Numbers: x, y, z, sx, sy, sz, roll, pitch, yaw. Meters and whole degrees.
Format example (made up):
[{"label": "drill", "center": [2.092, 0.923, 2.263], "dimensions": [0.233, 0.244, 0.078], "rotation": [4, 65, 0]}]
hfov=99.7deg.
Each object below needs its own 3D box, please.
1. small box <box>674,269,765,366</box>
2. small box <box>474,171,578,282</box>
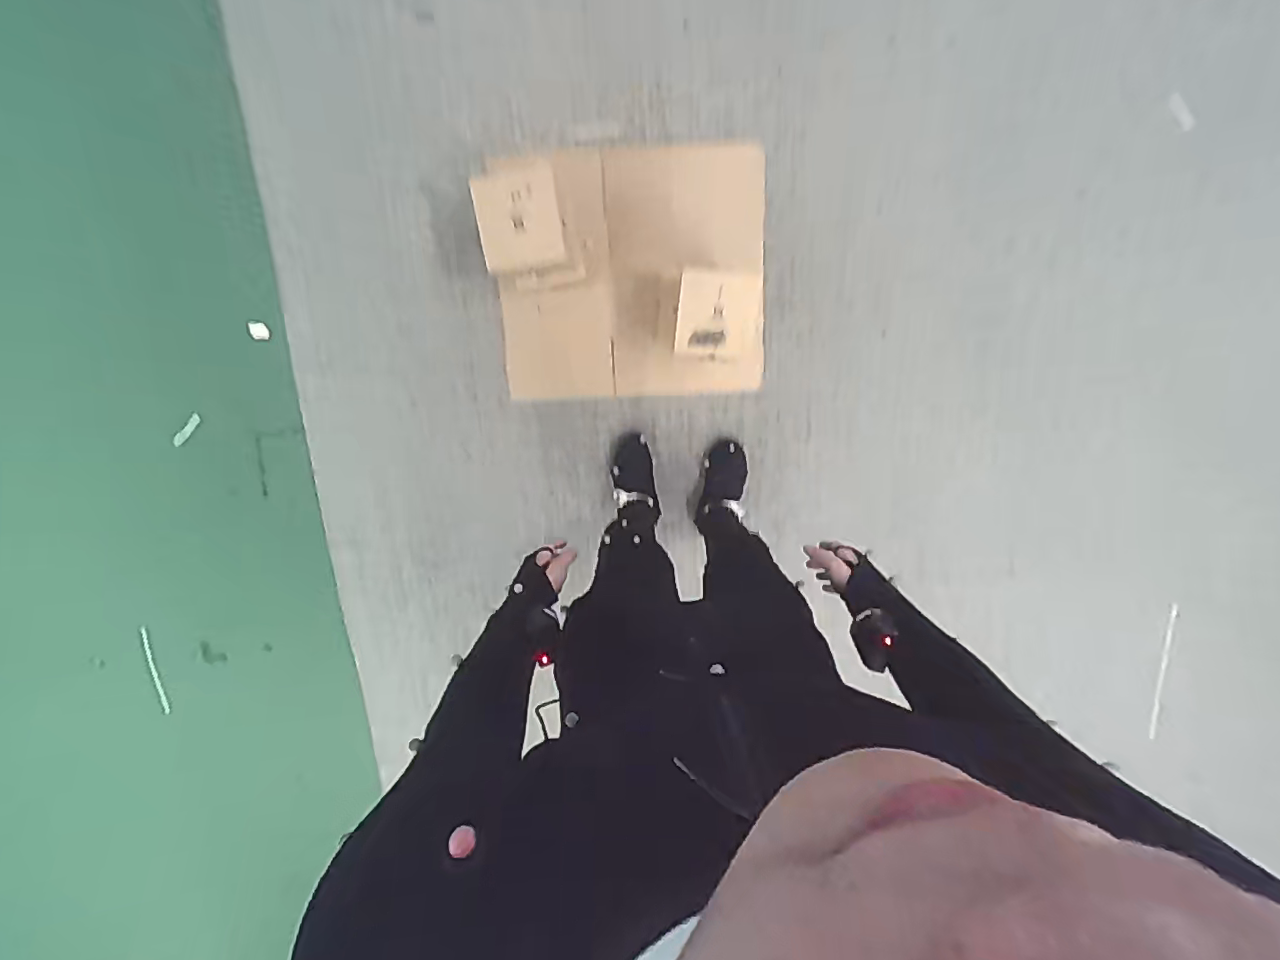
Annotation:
[{"label": "small box", "center": [0.165, -0.348, 1.184], "dimensions": [0.168, 0.176, 0.179], "rotation": [6, 102, 0]}, {"label": "small box", "center": [-0.232, -0.528, 1.152], "dimensions": [0.168, 0.176, 0.179], "rotation": [-8, 102, 2]}]
